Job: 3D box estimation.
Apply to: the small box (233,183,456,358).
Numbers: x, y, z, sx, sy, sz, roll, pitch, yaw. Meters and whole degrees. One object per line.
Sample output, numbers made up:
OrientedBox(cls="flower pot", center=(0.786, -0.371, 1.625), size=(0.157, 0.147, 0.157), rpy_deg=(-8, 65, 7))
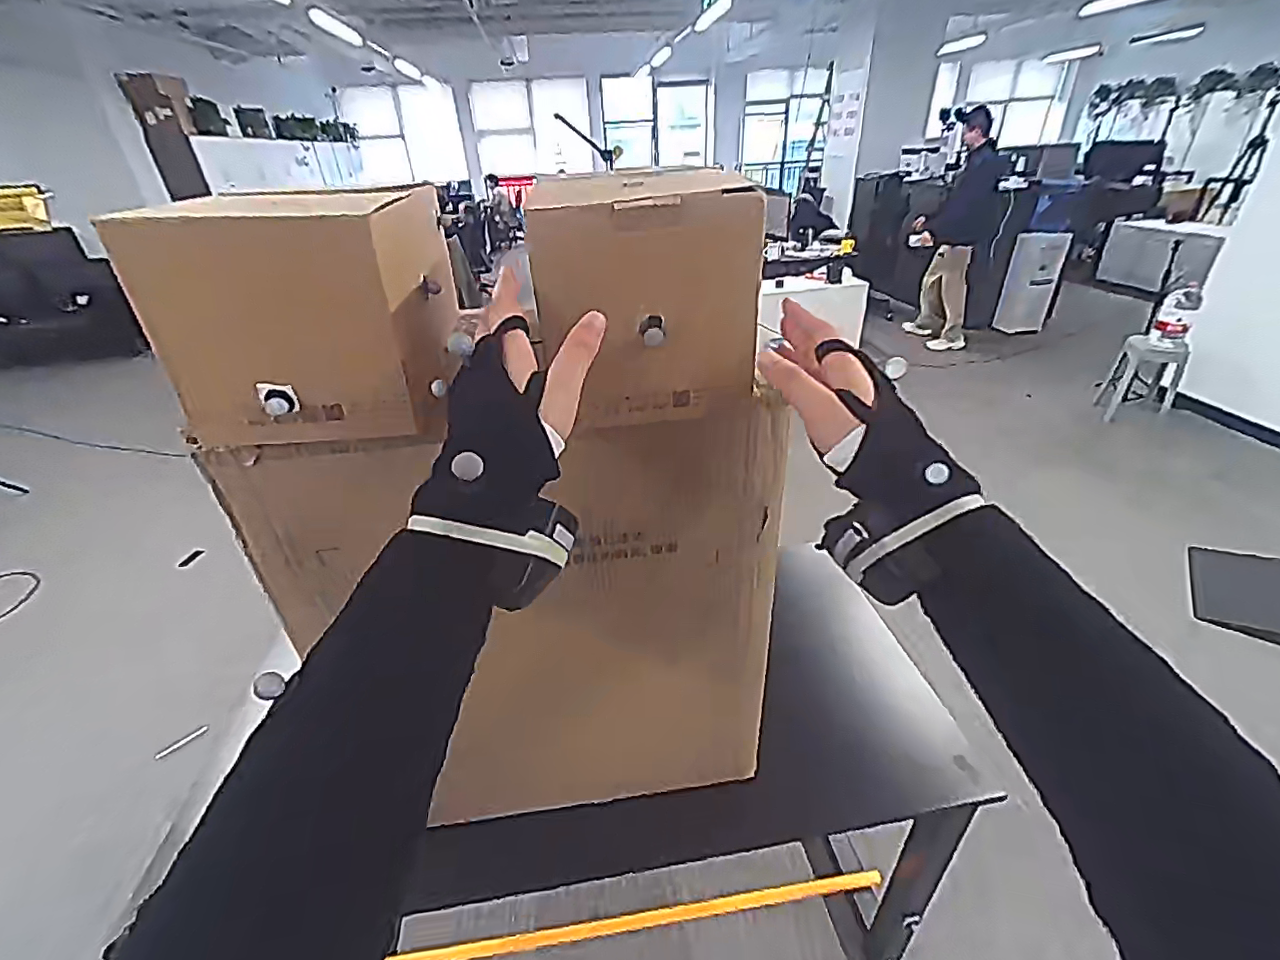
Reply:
OrientedBox(cls="small box", center=(-0.323, -0.251, 0.638), size=(0.168, 0.176, 0.179), rpy_deg=(-7, 30, -7))

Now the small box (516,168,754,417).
OrientedBox(cls="small box", center=(-0.004, -0.163, 0.472), size=(0.168, 0.176, 0.179), rpy_deg=(-7, 33, -3))
